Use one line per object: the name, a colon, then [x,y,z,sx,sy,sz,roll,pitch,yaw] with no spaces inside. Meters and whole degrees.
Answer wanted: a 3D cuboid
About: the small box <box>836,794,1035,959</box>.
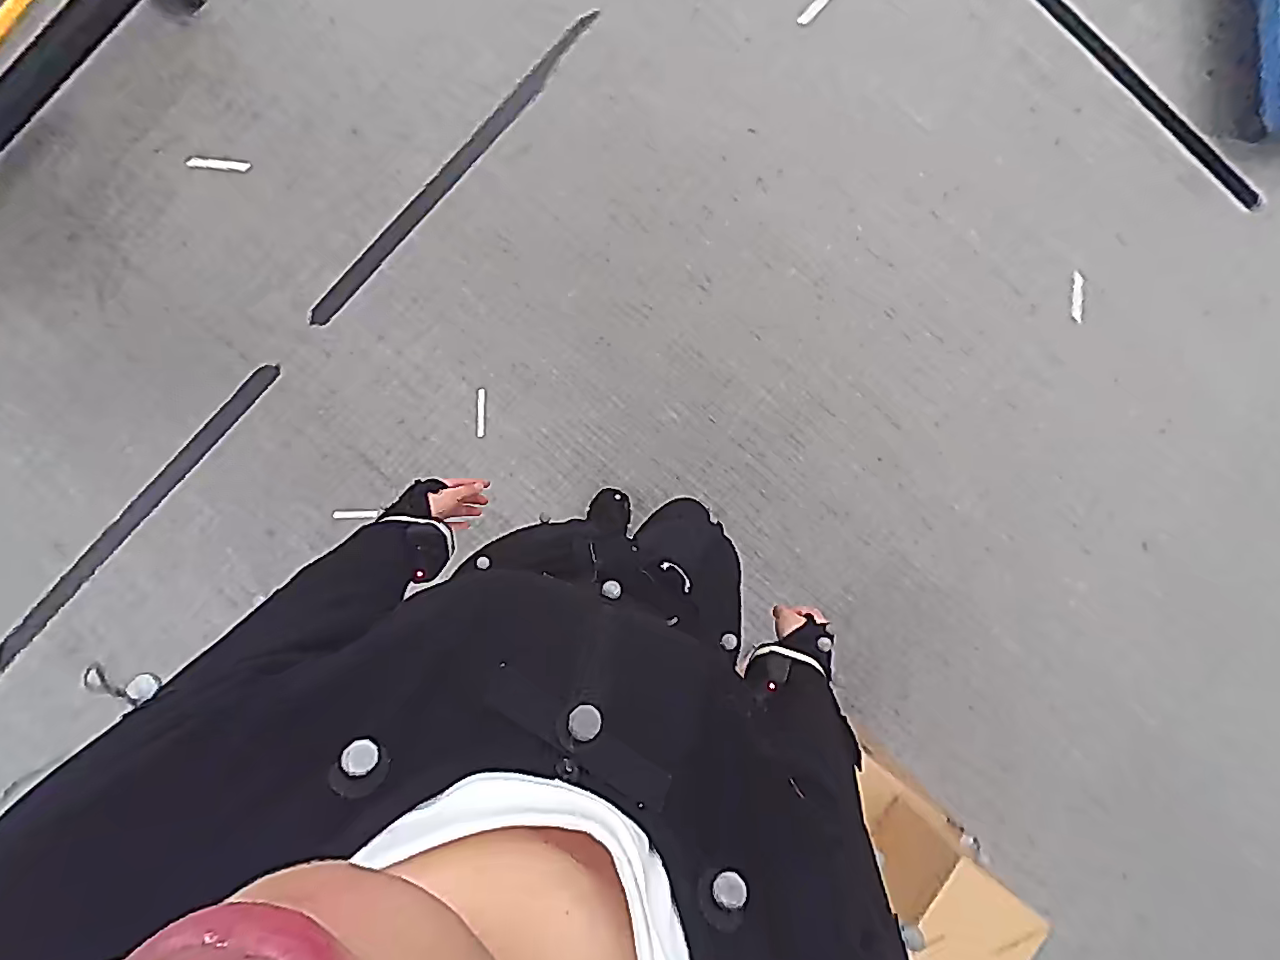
small box: [0.448,0.647,0.838,0.168,0.176,0.179,38,86,-2]
